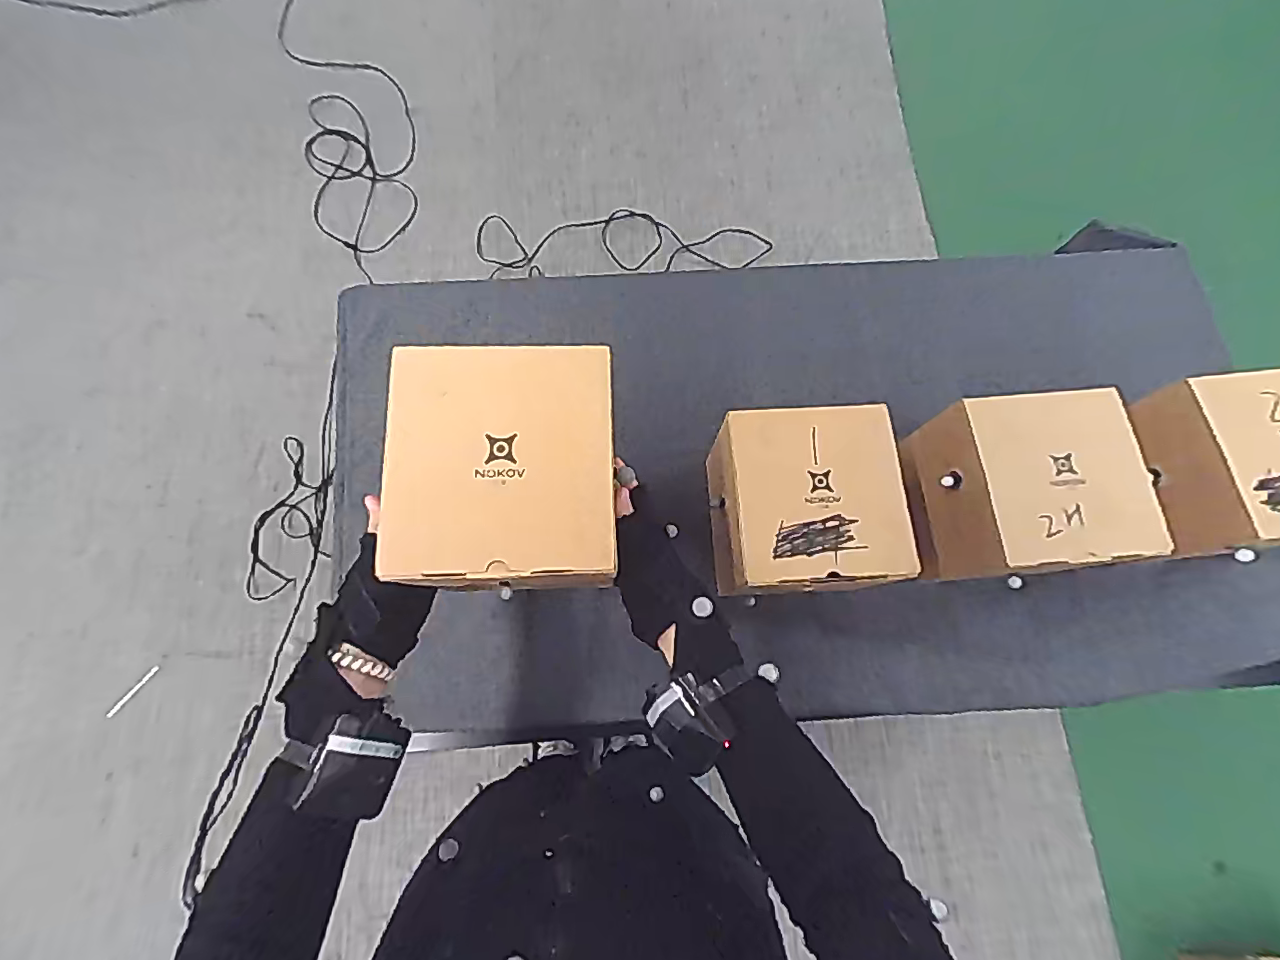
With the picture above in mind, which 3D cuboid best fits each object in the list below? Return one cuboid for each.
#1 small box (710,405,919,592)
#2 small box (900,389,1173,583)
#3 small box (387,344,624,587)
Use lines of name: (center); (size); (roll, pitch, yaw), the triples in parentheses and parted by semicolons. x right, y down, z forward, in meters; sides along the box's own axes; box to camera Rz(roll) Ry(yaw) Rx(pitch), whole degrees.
small box: (0.175, 0.032, 0.600); (0.168, 0.176, 0.179); (-2, 74, -2)
small box: (0.417, 0.015, 0.609); (0.168, 0.176, 0.179); (-4, 74, -2)
small box: (-0.102, -0.001, 0.474); (0.168, 0.176, 0.179); (-1, 77, -5)
